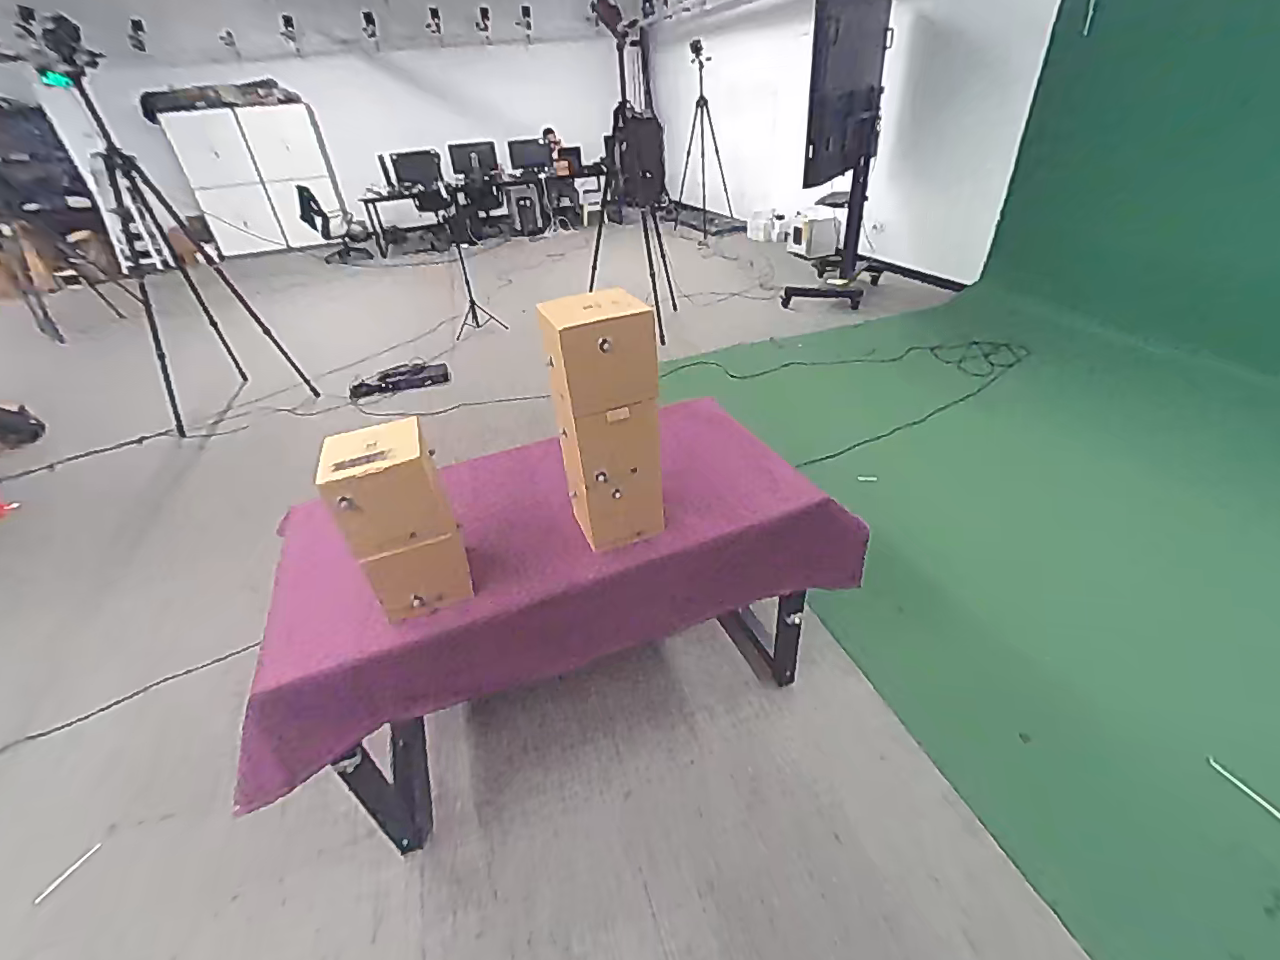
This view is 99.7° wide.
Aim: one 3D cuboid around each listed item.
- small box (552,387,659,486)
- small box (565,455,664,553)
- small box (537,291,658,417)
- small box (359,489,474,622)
[{"bbox_3d":[-0.068,-0.103,1.107,0.168,0.176,0.179,-17,36,-16],"label":"small box"},{"bbox_3d":[-0.056,0.033,1.200,0.168,0.176,0.179,-18,36,-15],"label":"small box"},{"bbox_3d":[-0.077,-0.235,1.009,0.179,0.176,0.168,-16,37,-15],"label":"small box"},{"bbox_3d":[-0.442,0.150,1.085,0.168,0.176,0.179,-16,37,-14],"label":"small box"}]
